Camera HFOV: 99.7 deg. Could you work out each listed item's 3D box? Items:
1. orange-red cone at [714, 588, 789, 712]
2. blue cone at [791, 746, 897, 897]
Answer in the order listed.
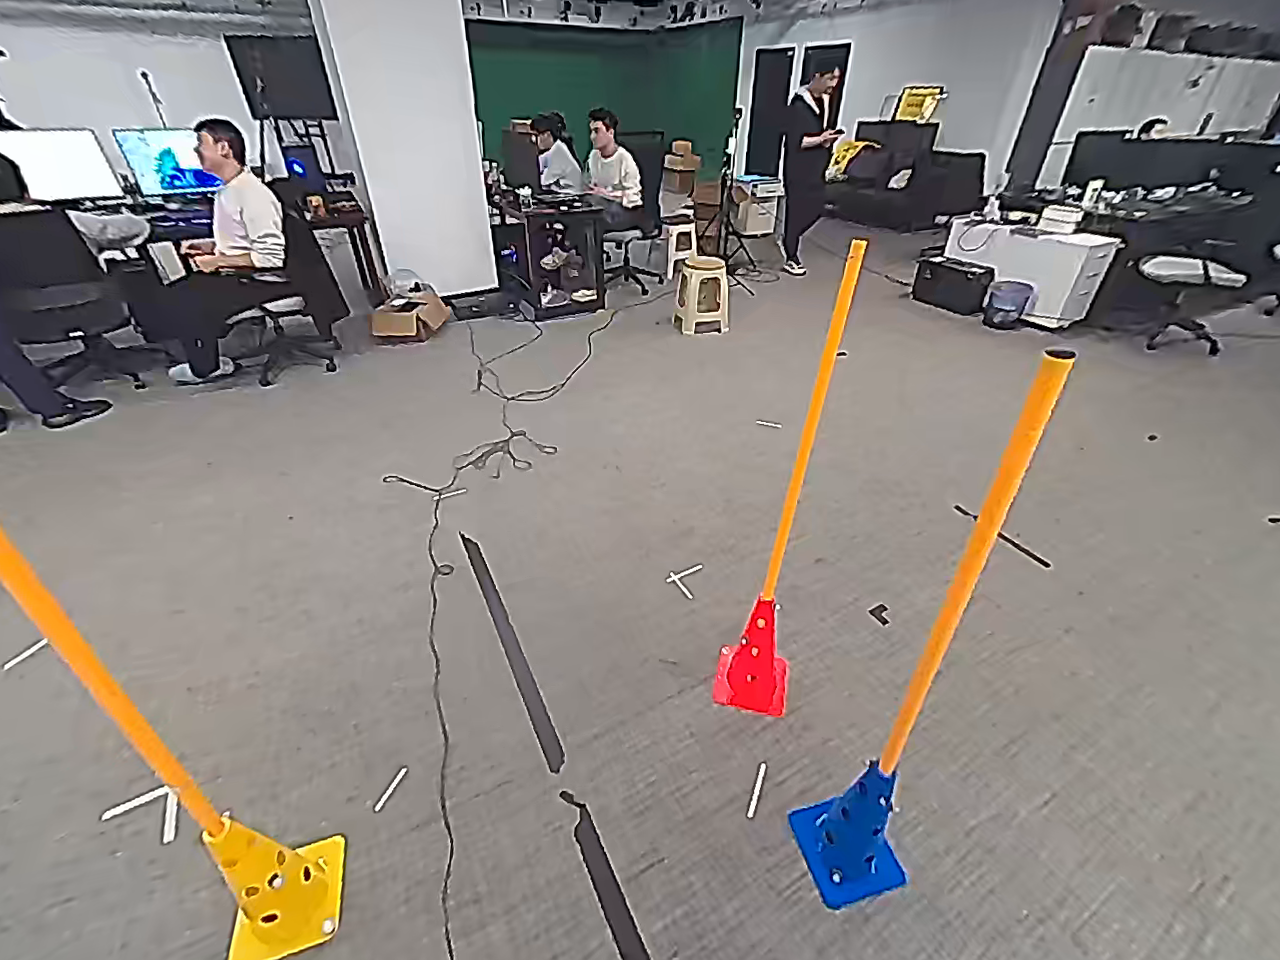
[{"bbox_3d":[0.323,0.432,1.471,0.198,0.360,0.199,9,38,14],"label":"orange-red cone"},{"bbox_3d":[0.461,0.686,1.134,0.193,0.380,0.192,-8,35,-11],"label":"blue cone"}]
